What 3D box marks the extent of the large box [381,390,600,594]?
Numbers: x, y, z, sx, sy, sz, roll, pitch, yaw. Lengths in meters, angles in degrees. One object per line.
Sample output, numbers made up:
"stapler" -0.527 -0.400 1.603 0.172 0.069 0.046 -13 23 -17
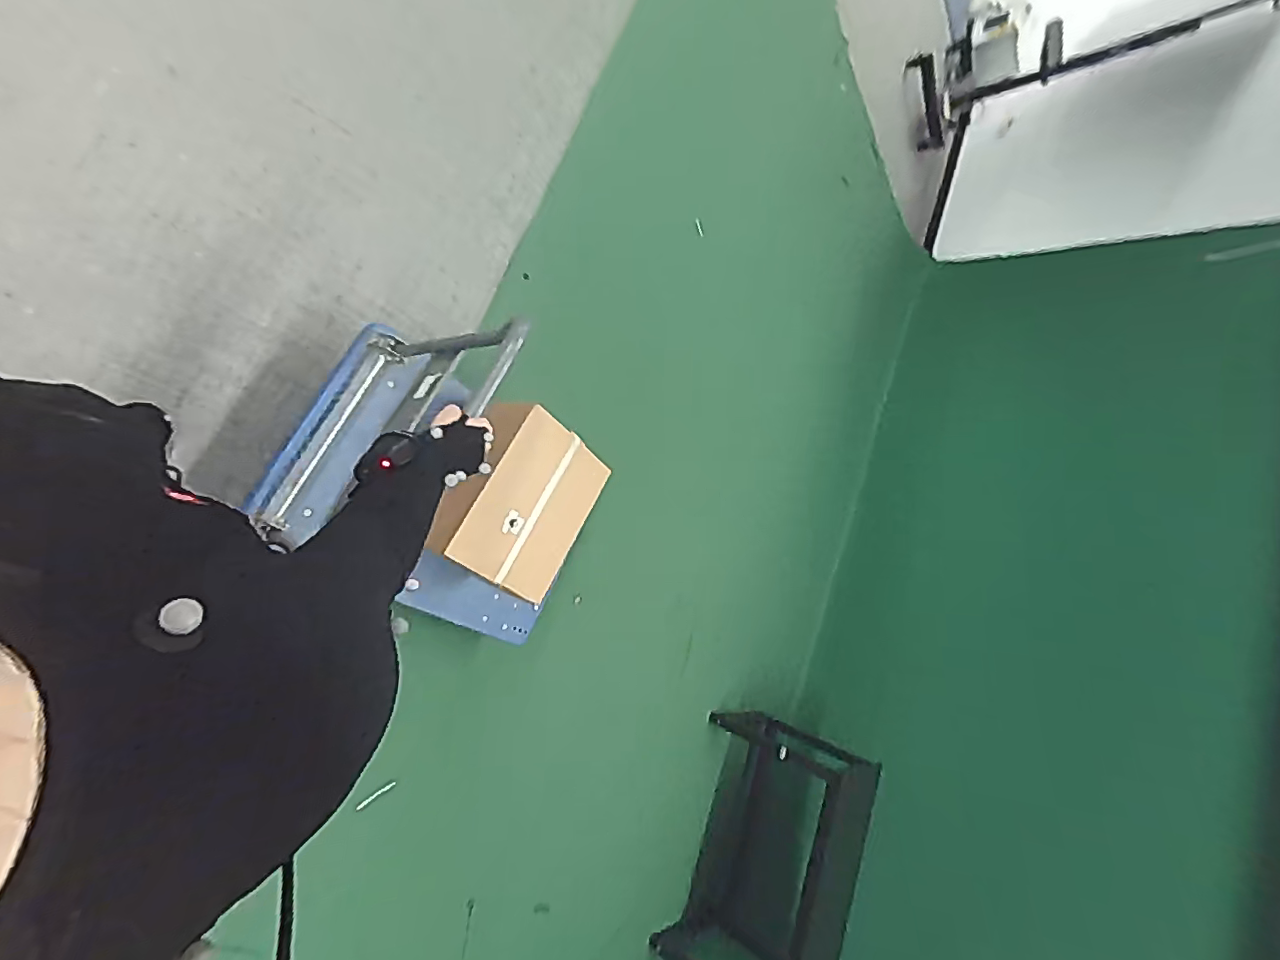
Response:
"large box" -0.380 0.019 1.407 0.320 0.320 0.408 44 66 -42
